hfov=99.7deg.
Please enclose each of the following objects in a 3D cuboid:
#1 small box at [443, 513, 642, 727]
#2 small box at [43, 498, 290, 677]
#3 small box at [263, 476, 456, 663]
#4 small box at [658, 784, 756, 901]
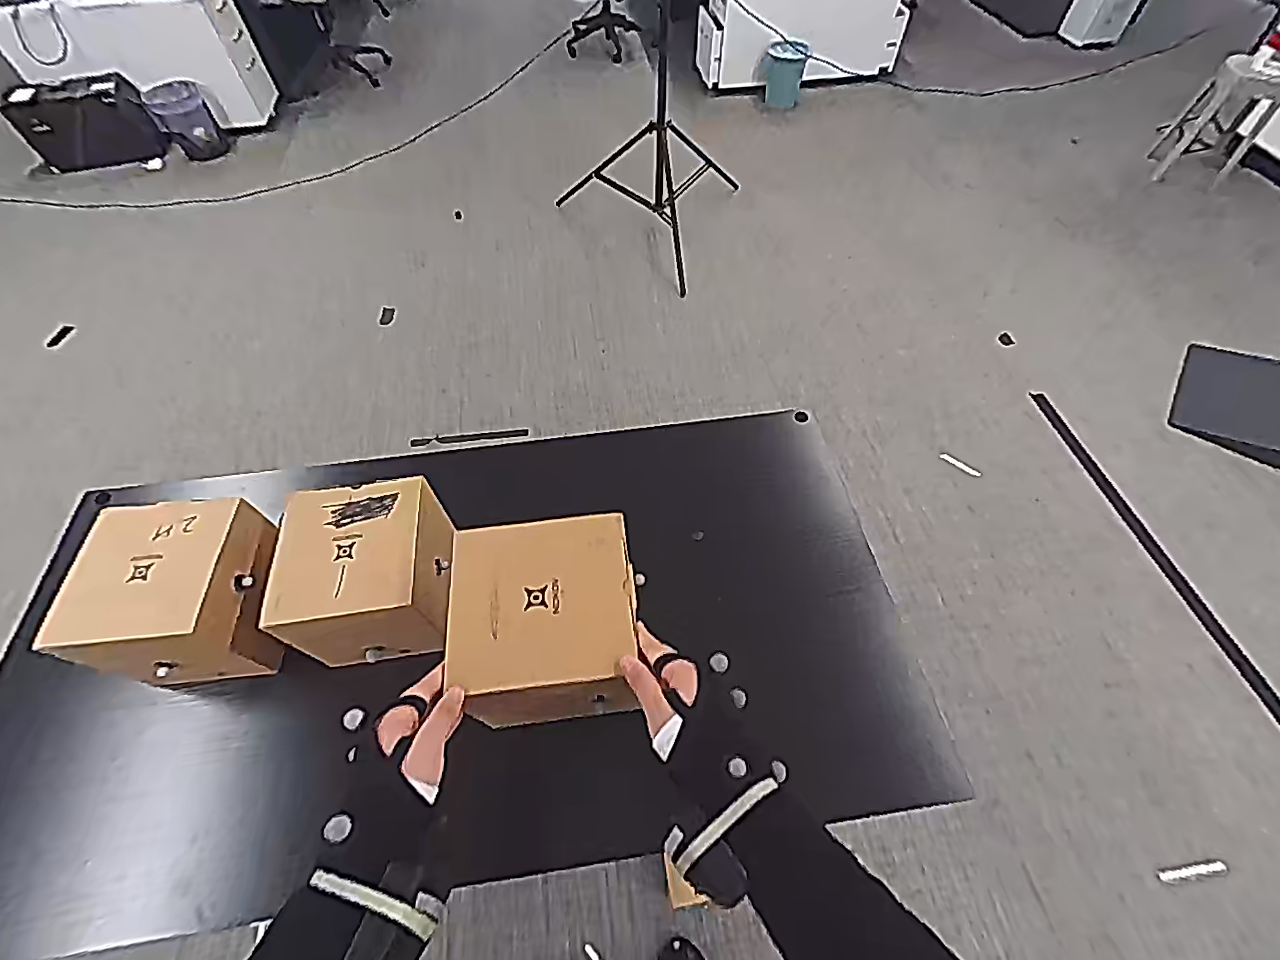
[{"bbox_3d":[-0.092,0.156,0.581,0.179,0.176,0.168,-8,56,-2],"label":"small box"},{"bbox_3d":[-0.564,0.144,0.691,0.168,0.176,0.179,-5,56,-3],"label":"small box"},{"bbox_3d":[-0.341,0.119,0.704,0.168,0.176,0.179,-8,57,-4],"label":"small box"},{"bbox_3d":[0.131,0.763,1.141,0.168,0.176,0.179,-9,56,-4],"label":"small box"}]
